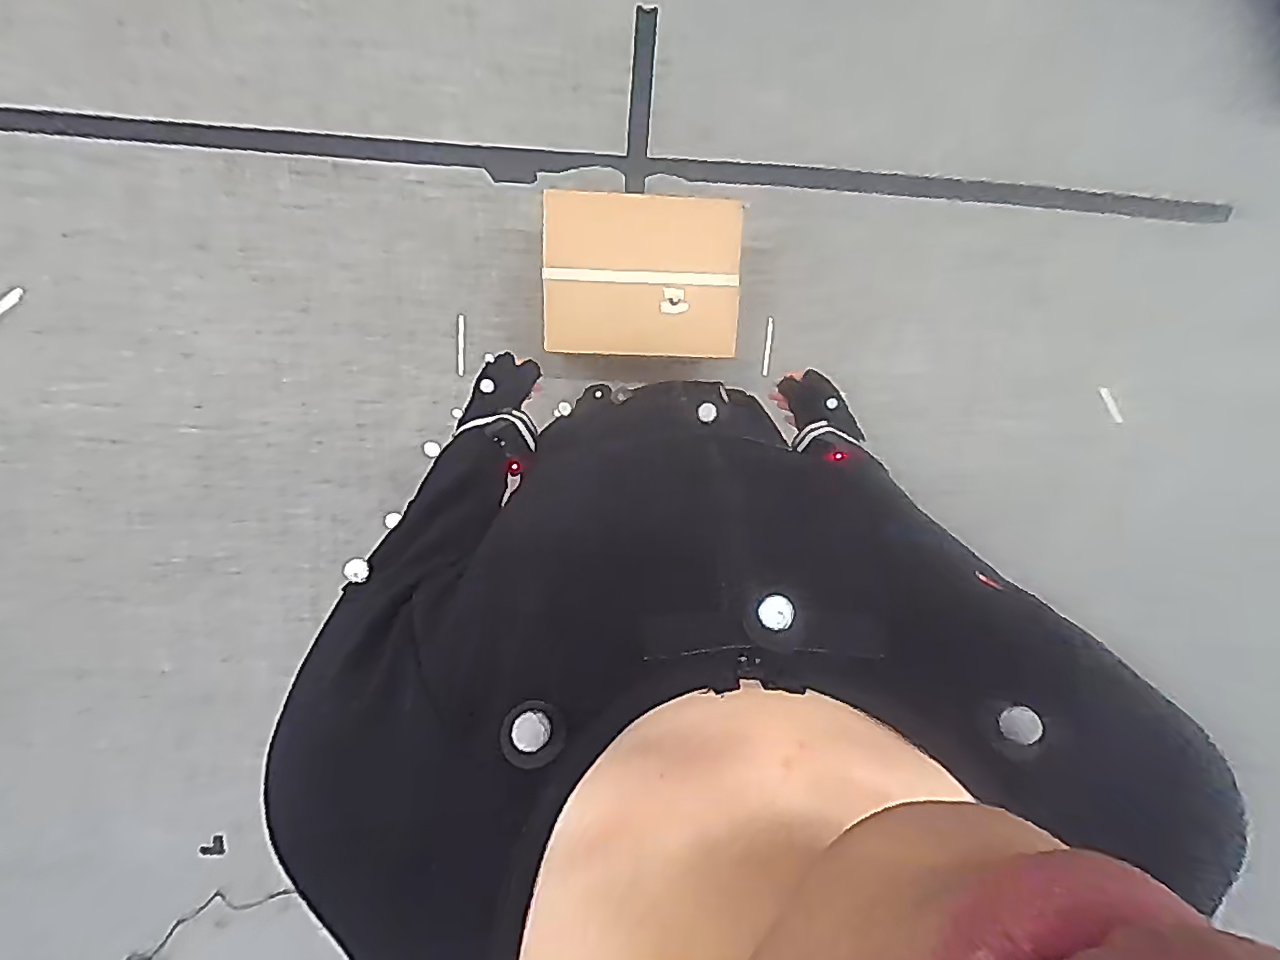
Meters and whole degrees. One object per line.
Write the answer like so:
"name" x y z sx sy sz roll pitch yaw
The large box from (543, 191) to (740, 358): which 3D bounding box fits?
"large box" -0.011 -0.445 1.251 0.408 0.320 0.320 0 102 -6
